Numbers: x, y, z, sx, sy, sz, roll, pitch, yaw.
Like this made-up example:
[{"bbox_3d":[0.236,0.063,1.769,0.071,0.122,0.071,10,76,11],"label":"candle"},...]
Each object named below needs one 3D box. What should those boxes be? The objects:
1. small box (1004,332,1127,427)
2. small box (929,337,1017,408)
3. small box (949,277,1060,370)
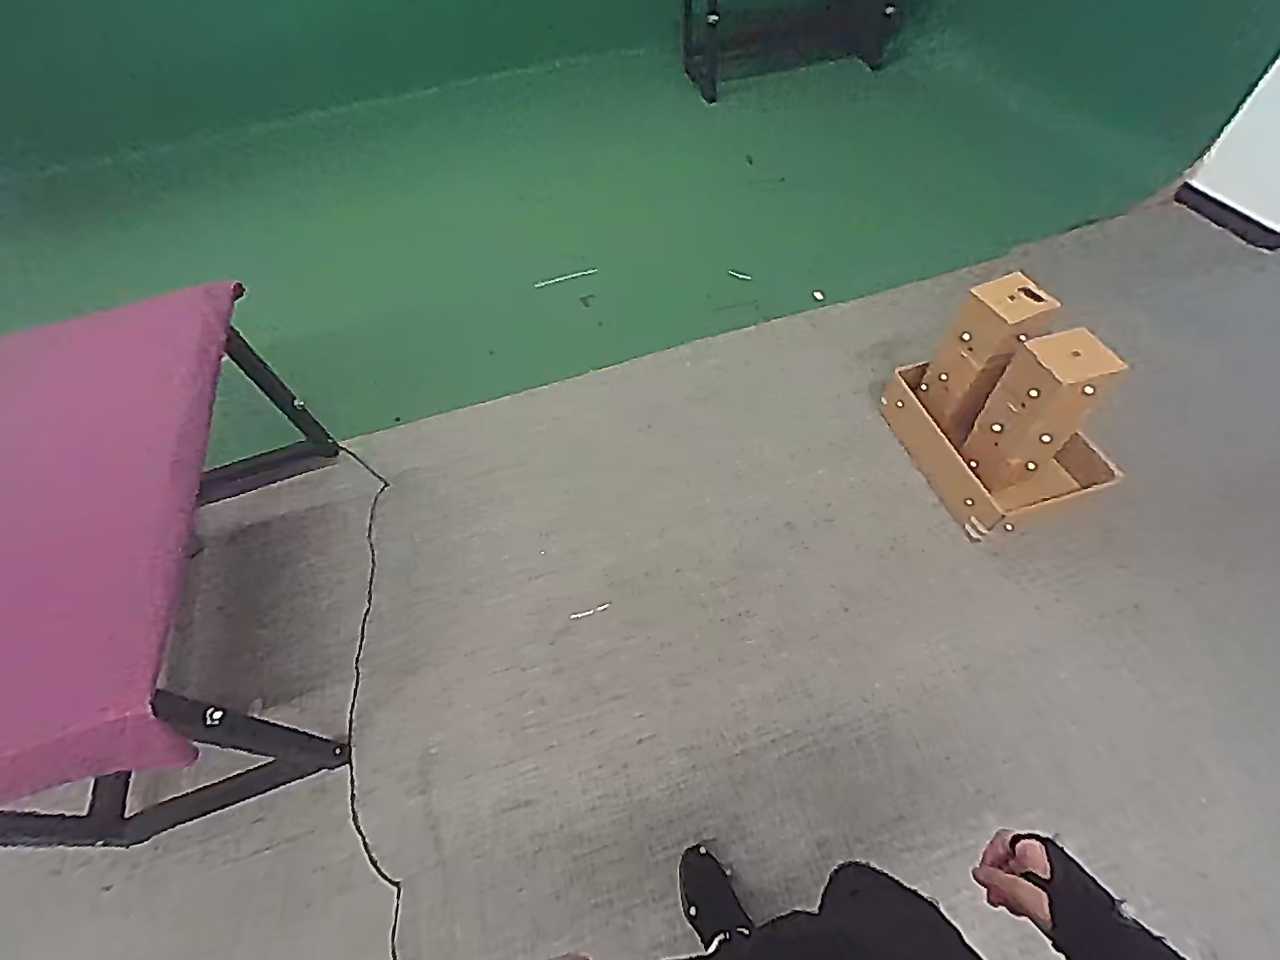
[{"bbox_3d":[1.120,-0.263,1.448,0.179,0.176,0.168,-13,54,-3],"label":"small box"},{"bbox_3d":[1.061,-0.354,1.708,0.179,0.176,0.168,-16,57,-6],"label":"small box"},{"bbox_3d":[1.051,-0.453,1.577,0.179,0.176,0.168,-21,57,-8],"label":"small box"}]
